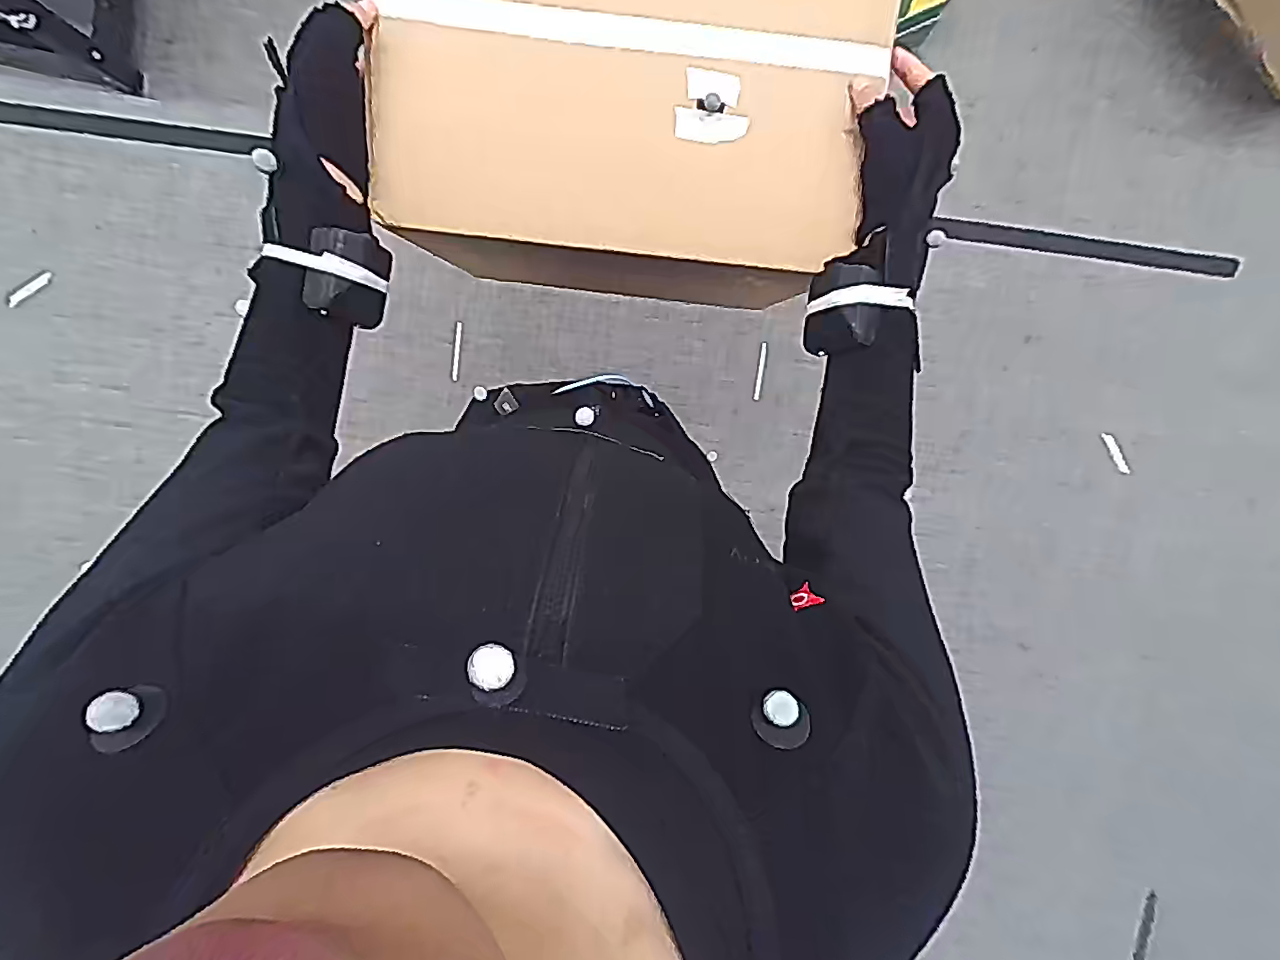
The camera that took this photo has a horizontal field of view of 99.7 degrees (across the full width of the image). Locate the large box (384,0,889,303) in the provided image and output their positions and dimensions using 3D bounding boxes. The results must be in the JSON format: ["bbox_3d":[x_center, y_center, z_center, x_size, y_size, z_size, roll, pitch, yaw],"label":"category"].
[{"bbox_3d":[-0.010,-0.380,0.579,0.408,0.320,0.320,5,103,-3],"label":"large box"}]
